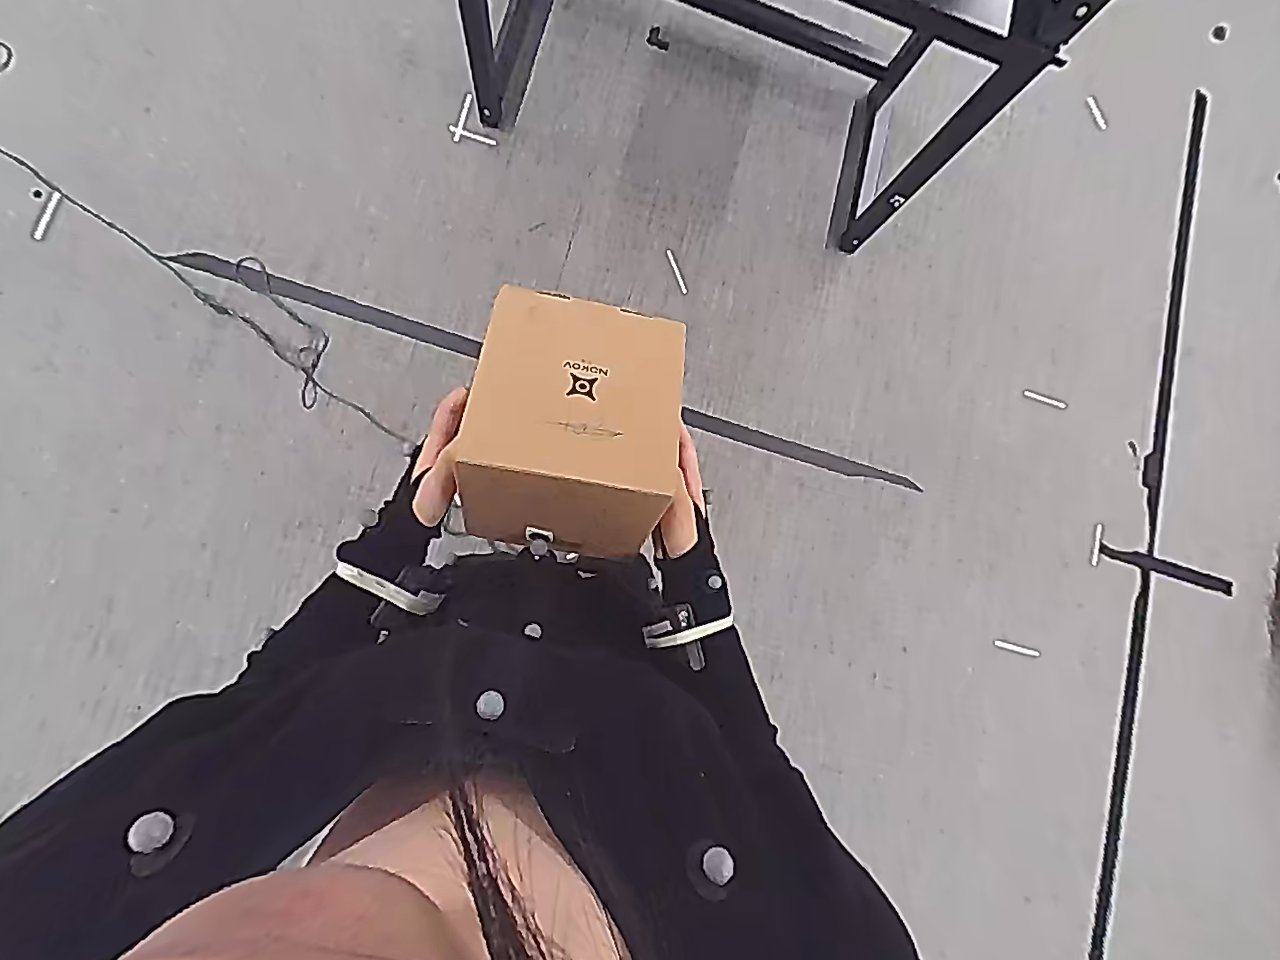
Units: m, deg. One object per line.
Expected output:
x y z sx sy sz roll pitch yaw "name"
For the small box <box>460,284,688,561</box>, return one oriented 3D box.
-0.060 -0.041 0.500 0.168 0.176 0.179 9 63 -9 "small box"
